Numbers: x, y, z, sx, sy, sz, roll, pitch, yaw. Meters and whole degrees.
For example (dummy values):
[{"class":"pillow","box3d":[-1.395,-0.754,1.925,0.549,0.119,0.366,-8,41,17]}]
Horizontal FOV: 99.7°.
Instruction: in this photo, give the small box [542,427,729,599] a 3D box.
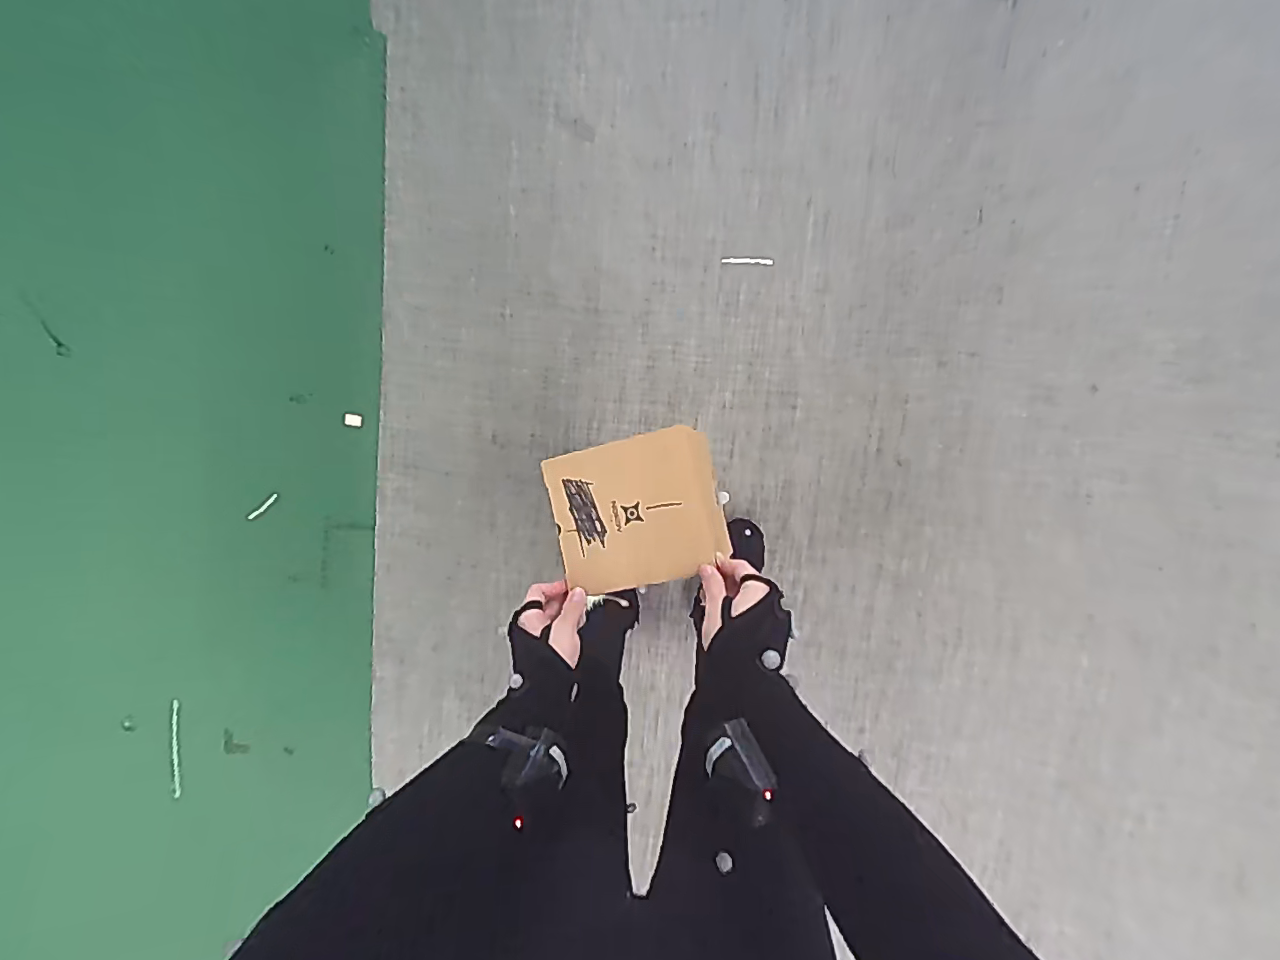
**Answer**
[{"class":"small box","box3d":[0.004,0.042,0.680,0.179,0.176,0.168,-14,85,13]}]
